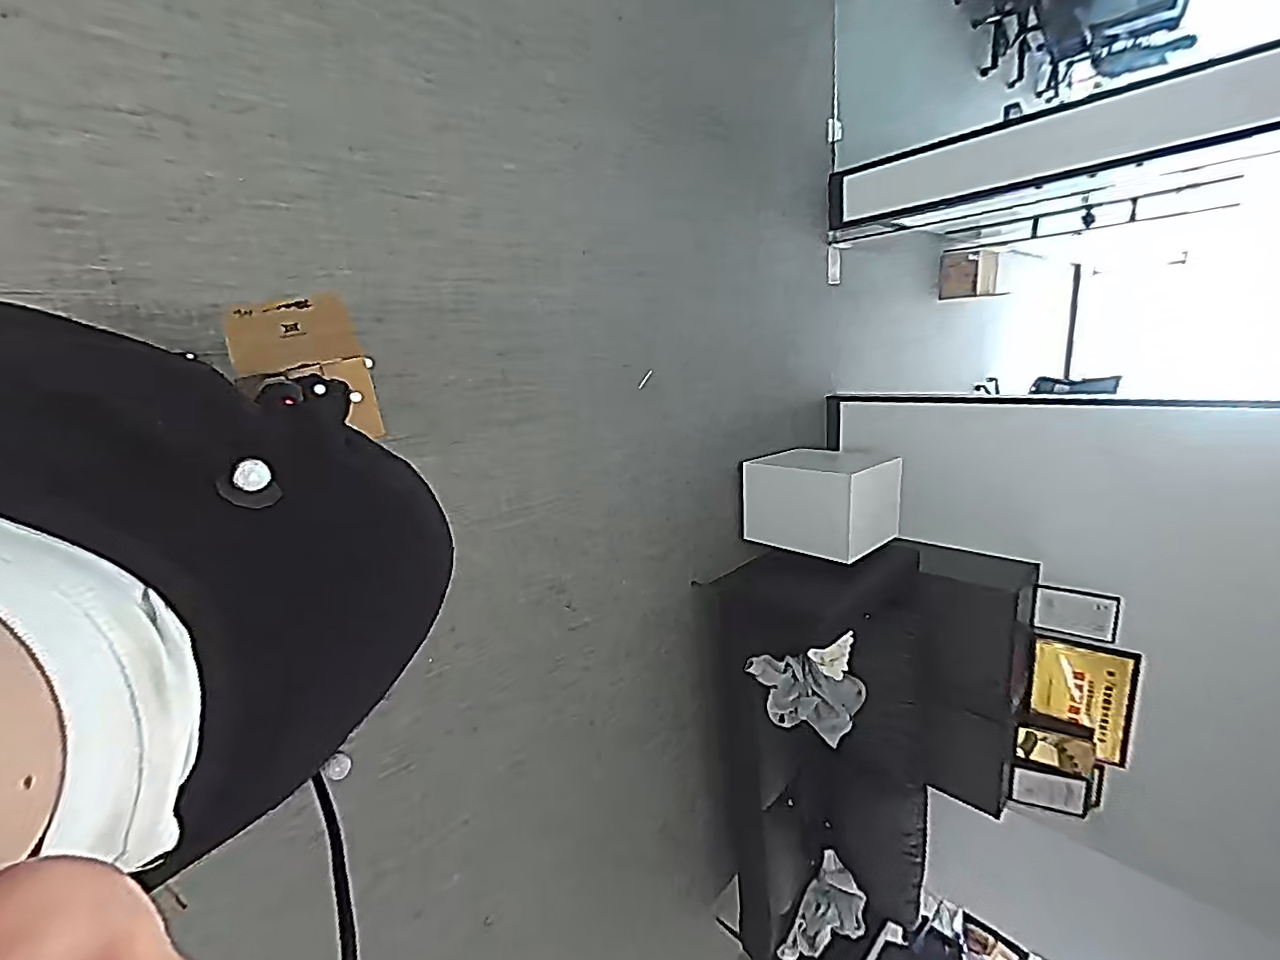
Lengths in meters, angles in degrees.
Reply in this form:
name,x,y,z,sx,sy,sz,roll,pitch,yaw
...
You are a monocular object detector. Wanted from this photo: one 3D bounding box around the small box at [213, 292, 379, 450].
name,x,y,z,sx,sy,sz,roll,pitch,yaw
small box,-0.537,-0.168,0.863,0.168,0.179,0.176,-22,148,-28
